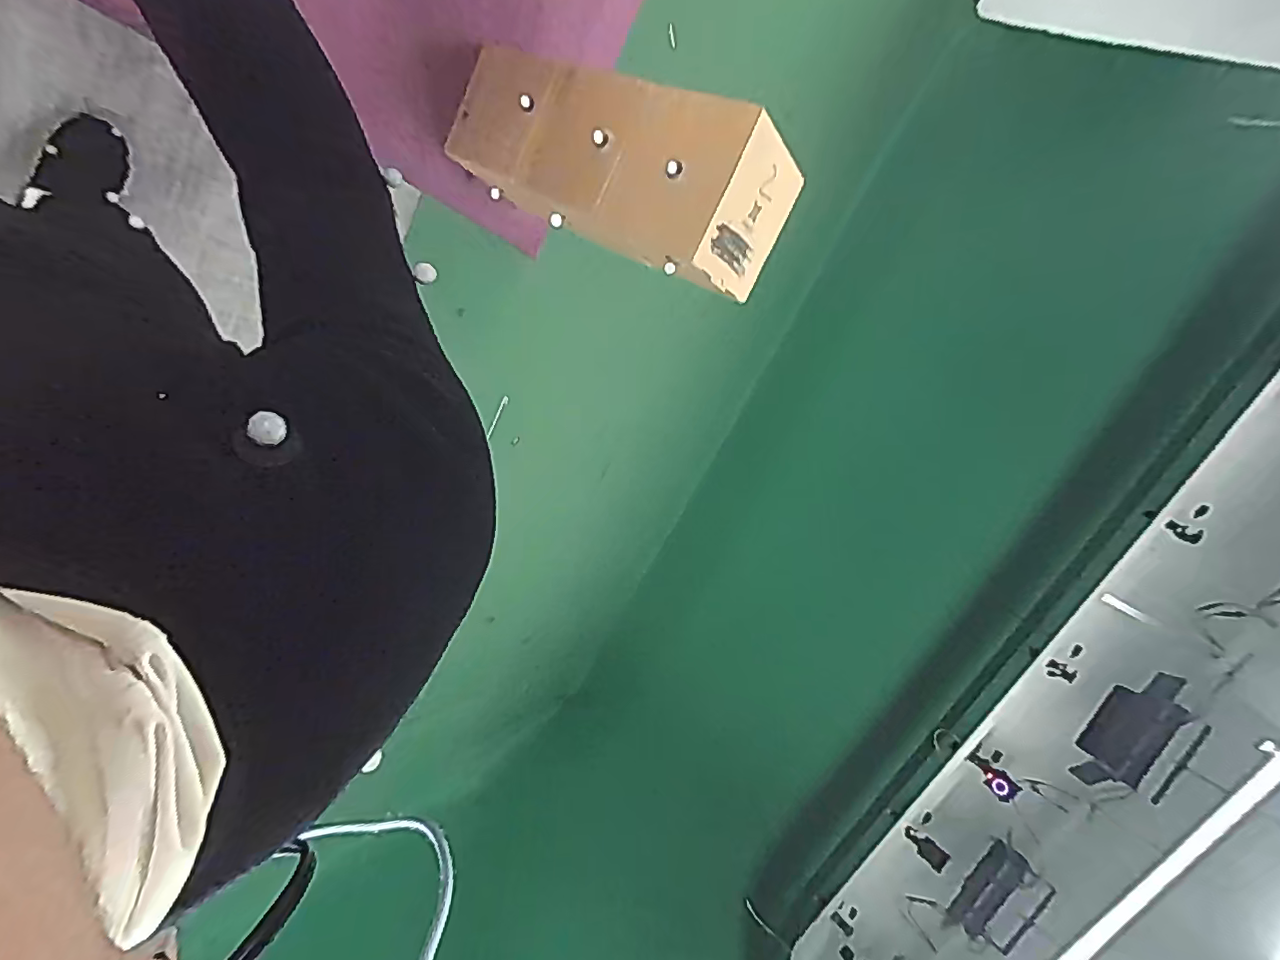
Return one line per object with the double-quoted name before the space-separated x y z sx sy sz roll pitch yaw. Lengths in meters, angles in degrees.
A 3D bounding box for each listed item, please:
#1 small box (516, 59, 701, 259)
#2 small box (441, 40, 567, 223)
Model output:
"small box" -0.047 -0.459 0.781 0.168 0.176 0.179 7 115 -60
"small box" -0.171 -0.542 0.849 0.168 0.176 0.179 -61 154 12
